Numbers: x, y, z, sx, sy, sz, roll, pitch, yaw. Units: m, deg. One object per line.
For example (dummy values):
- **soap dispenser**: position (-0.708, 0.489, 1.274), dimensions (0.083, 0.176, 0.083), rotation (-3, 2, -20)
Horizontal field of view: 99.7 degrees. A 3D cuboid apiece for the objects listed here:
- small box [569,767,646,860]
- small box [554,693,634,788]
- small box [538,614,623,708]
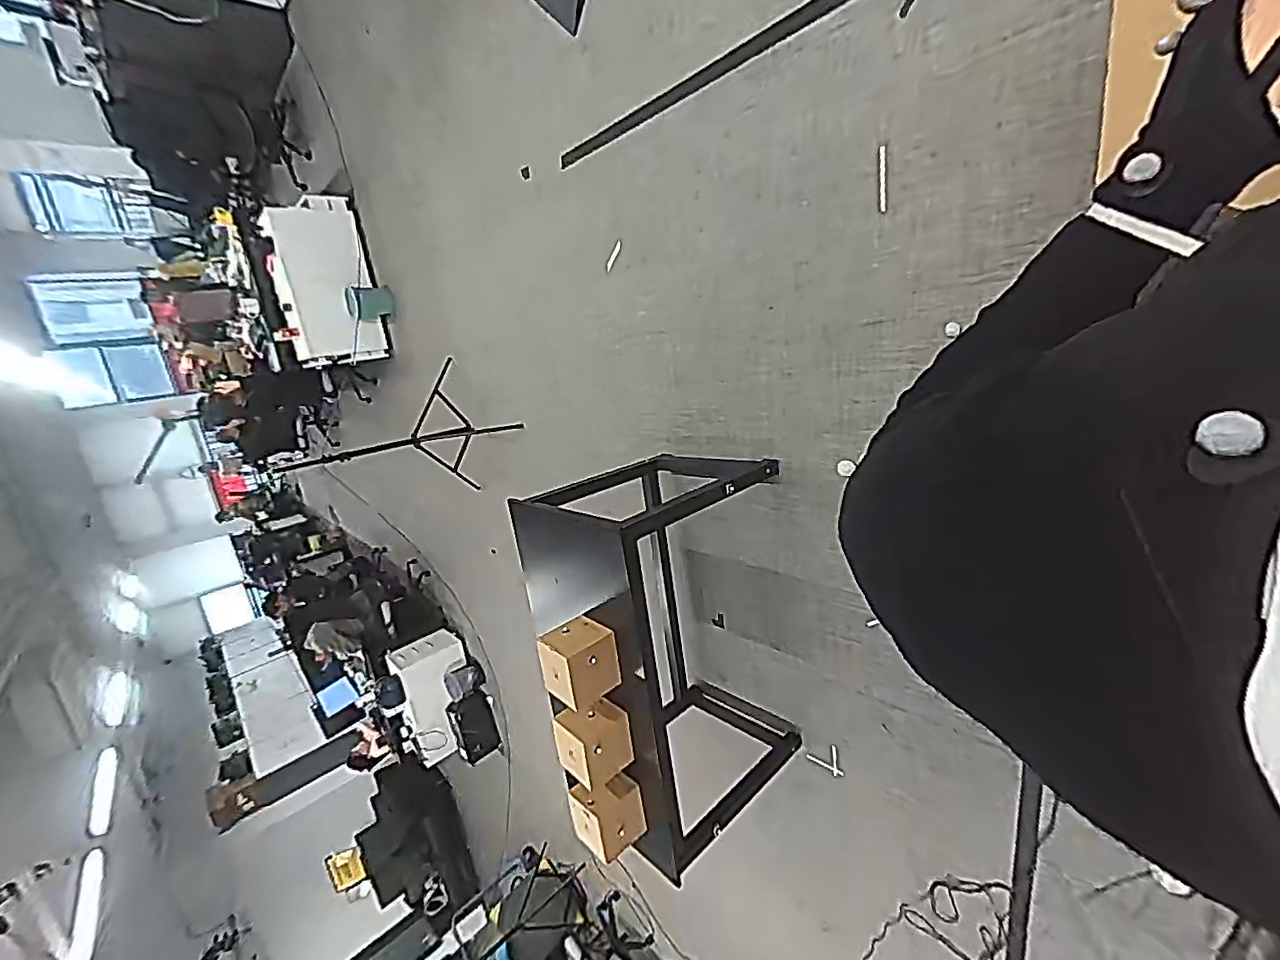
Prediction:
- **small box**: position (-0.098, 1.043, 1.724), dimensions (0.168, 0.176, 0.179), rotation (6, 110, 49)
- **small box**: position (-0.137, 0.782, 1.654), dimensions (0.168, 0.176, 0.179), rotation (11, 114, 48)
- **small box**: position (-0.171, 0.519, 1.582), dimensions (0.168, 0.176, 0.179), rotation (10, 115, 49)
